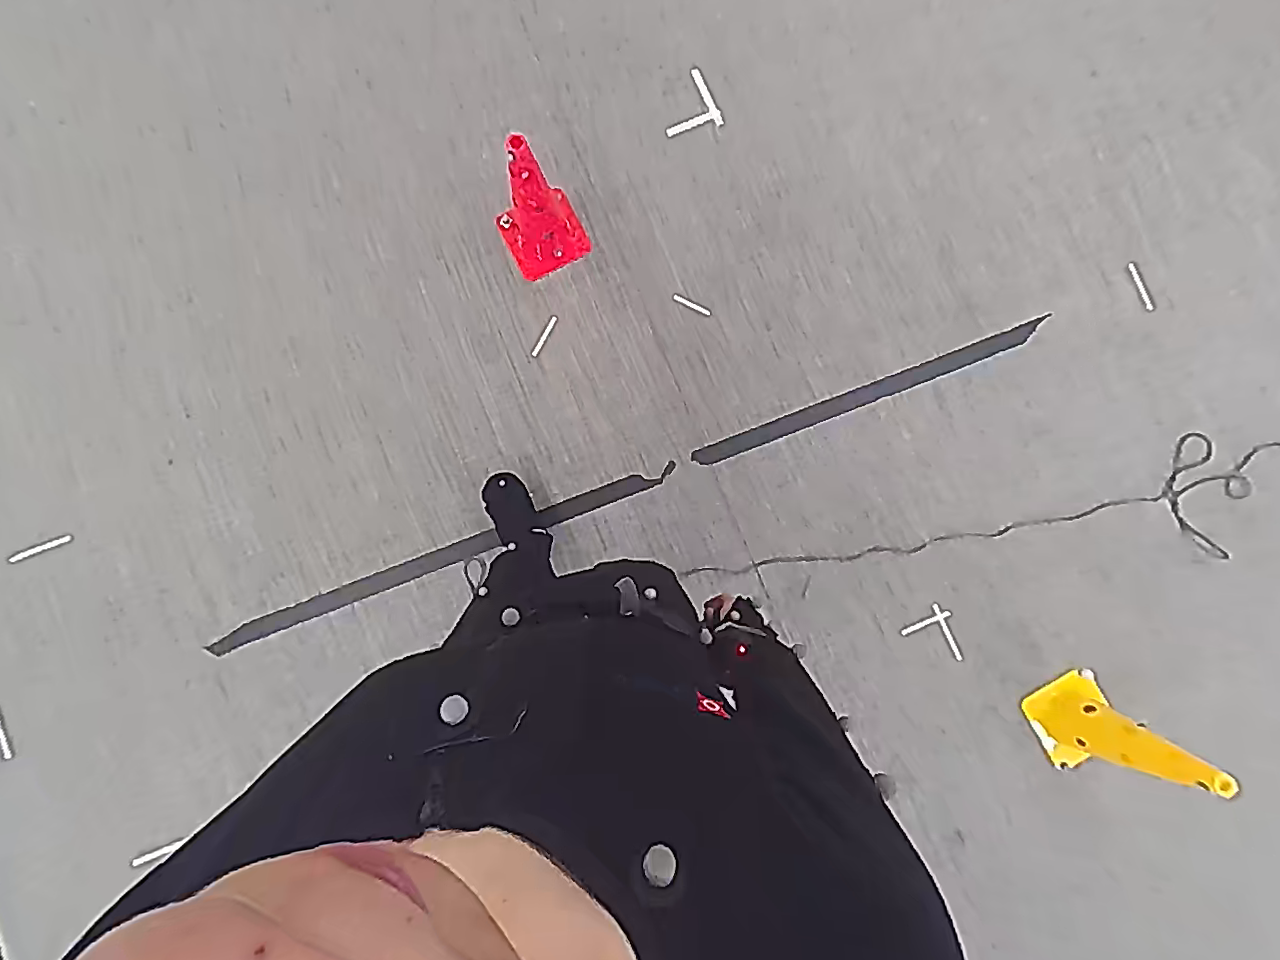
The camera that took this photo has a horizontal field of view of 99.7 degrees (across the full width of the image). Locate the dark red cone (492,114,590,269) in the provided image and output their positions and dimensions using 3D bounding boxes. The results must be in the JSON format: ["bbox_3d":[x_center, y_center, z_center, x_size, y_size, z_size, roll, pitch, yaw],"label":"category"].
[{"bbox_3d":[-0.248,-0.665,1.220,0.202,0.394,0.201,-30,88,-3],"label":"dark red cone"}]
